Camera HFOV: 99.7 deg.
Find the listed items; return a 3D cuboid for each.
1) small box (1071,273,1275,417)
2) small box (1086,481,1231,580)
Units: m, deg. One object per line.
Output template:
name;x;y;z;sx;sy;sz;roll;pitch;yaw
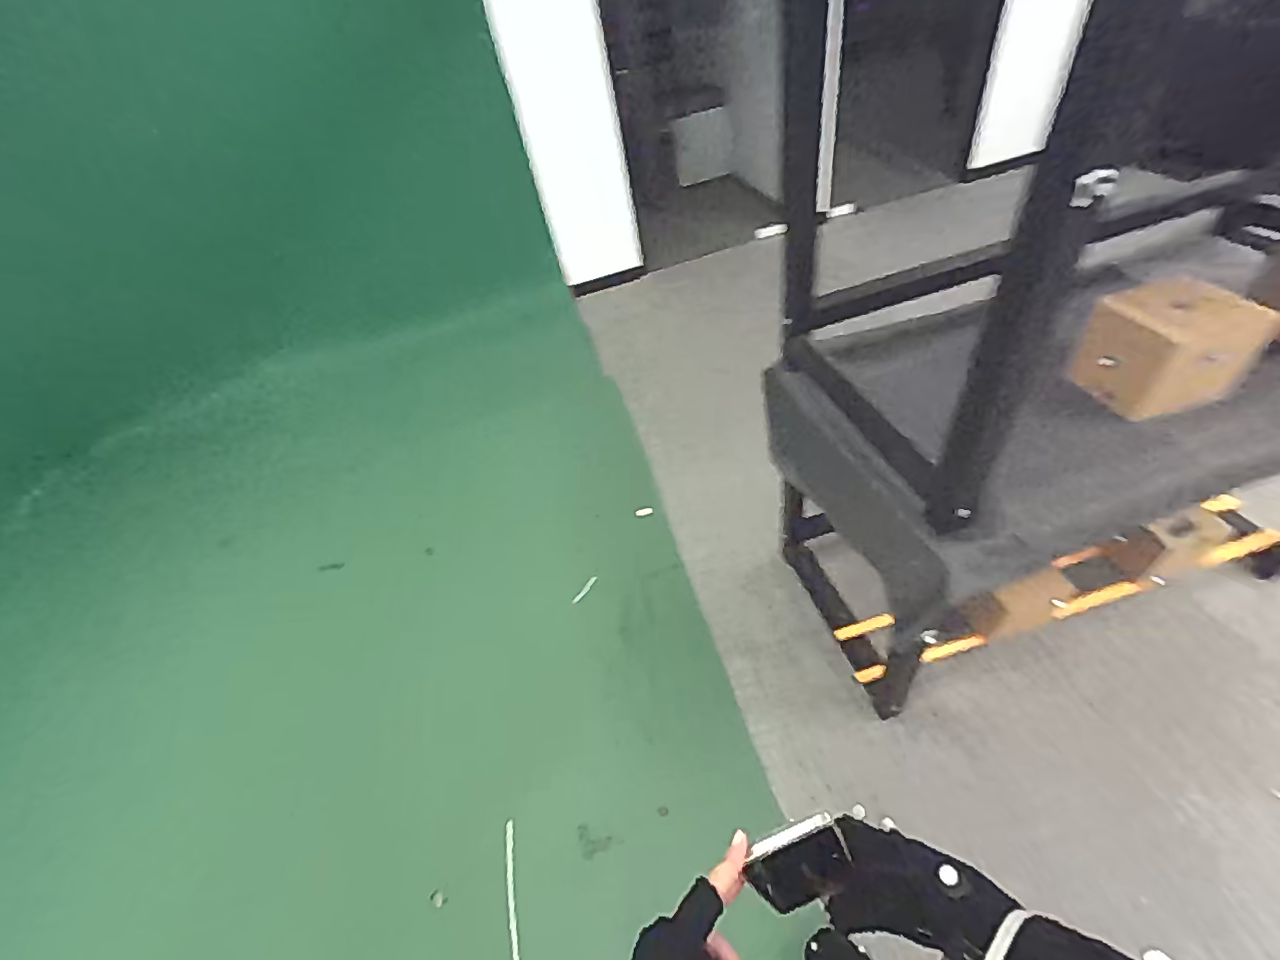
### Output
small box;0.918;-0.236;0.960;0.179;0.176;0.168;-16;45;-2
small box;1.311;0.137;1.383;0.168;0.176;0.179;-15;45;-2
